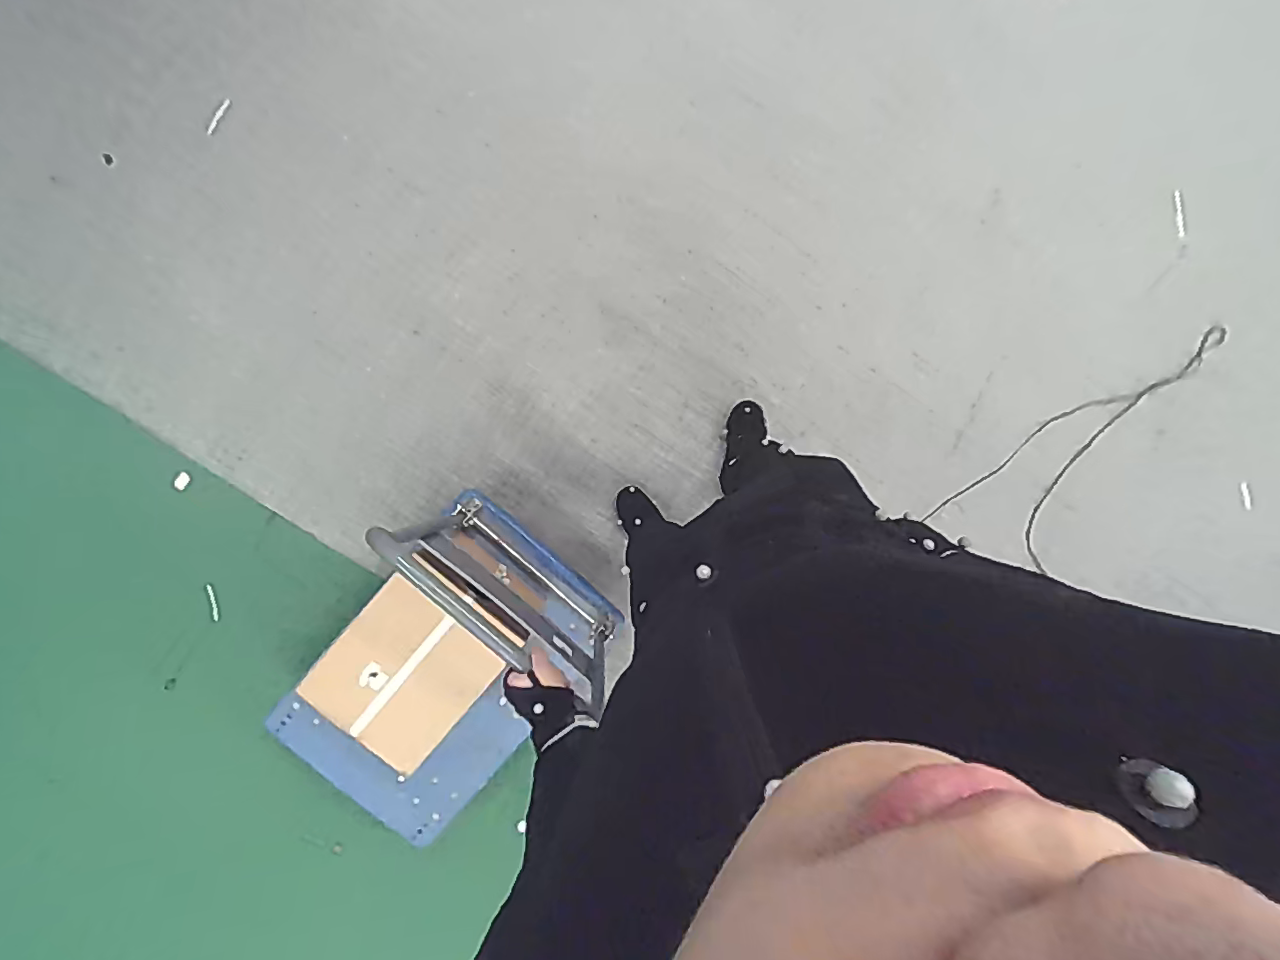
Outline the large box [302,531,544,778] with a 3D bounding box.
[{"bbox_3d":[-0.486,0.388,1.301,0.320,0.320,0.408,40,92,-3],"label":"large box"}]
